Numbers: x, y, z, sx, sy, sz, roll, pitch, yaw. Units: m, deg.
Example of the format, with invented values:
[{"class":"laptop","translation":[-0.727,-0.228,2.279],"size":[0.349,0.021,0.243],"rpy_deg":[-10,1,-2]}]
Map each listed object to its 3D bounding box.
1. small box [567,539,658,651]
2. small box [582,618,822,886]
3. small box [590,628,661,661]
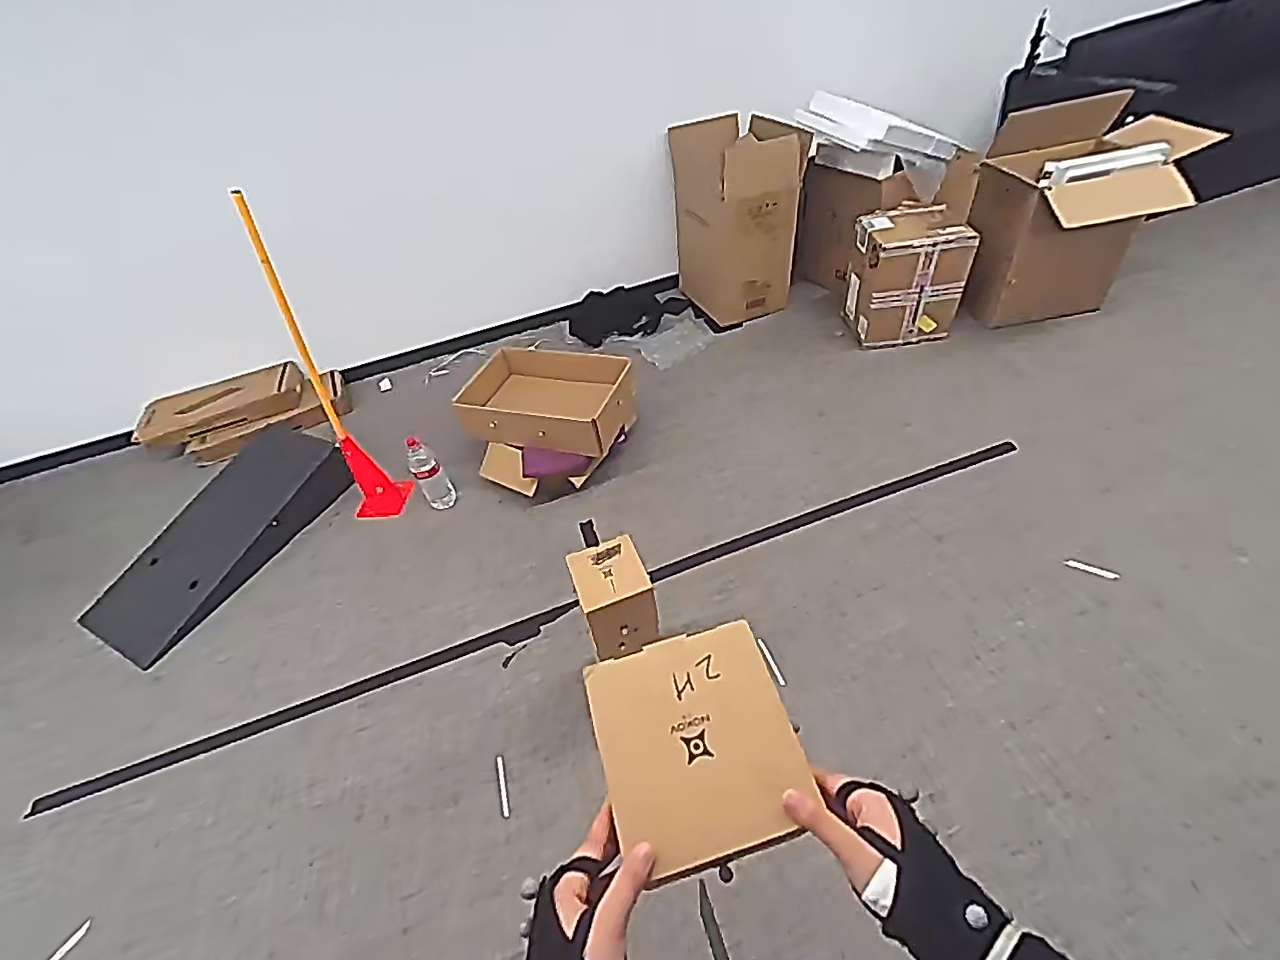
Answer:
[{"class":"small box","translation":[-0.065,0.279,1.314],"size":[0.168,0.176,0.179],"rpy_deg":[-20,45,-9]},{"class":"small box","translation":[0.053,0.268,0.530],"size":[0.168,0.176,0.179],"rpy_deg":[-16,52,-6]},{"class":"small box","translation":[-0.047,0.398,1.428],"size":[0.168,0.176,0.179],"rpy_deg":[-20,43,-9]}]
